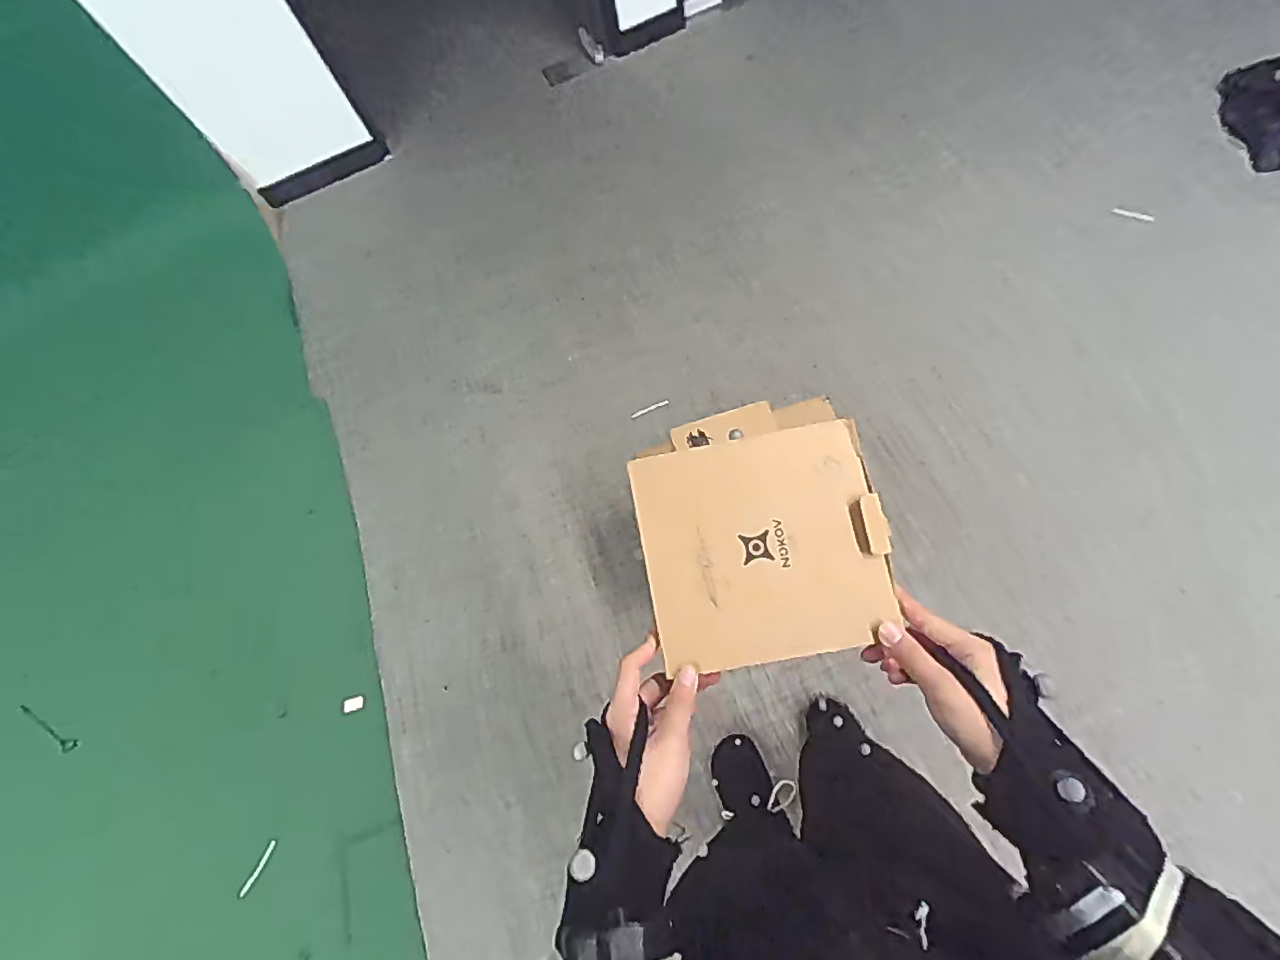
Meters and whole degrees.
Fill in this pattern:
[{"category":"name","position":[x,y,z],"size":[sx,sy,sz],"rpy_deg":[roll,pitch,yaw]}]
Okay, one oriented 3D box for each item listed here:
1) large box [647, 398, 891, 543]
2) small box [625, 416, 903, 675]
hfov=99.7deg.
[{"category":"large box","position":[0.245,0.084,1.170],"size":[0.408,0.320,0.320],"rpy_deg":[-18,67,1]},{"category":"small box","position":[0.094,0.058,0.476],"size":[0.179,0.176,0.168],"rpy_deg":[-13,80,4]}]
